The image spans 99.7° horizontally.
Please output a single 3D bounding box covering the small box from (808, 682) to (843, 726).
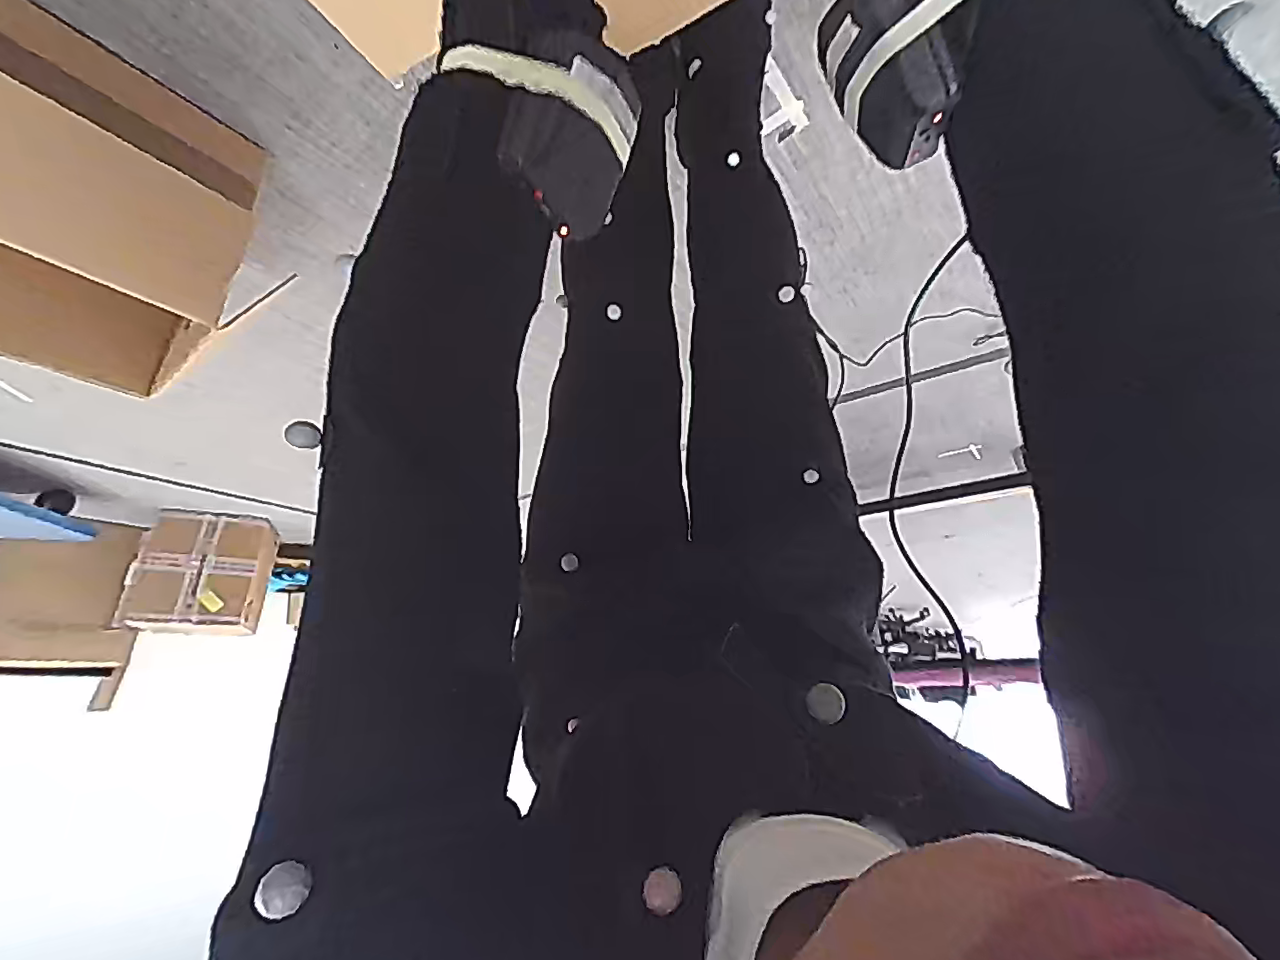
[{"bbox_3d":[0.778,0.989,2.389,0.179,0.176,0.168,-16,153,35],"label":"small box"}]
